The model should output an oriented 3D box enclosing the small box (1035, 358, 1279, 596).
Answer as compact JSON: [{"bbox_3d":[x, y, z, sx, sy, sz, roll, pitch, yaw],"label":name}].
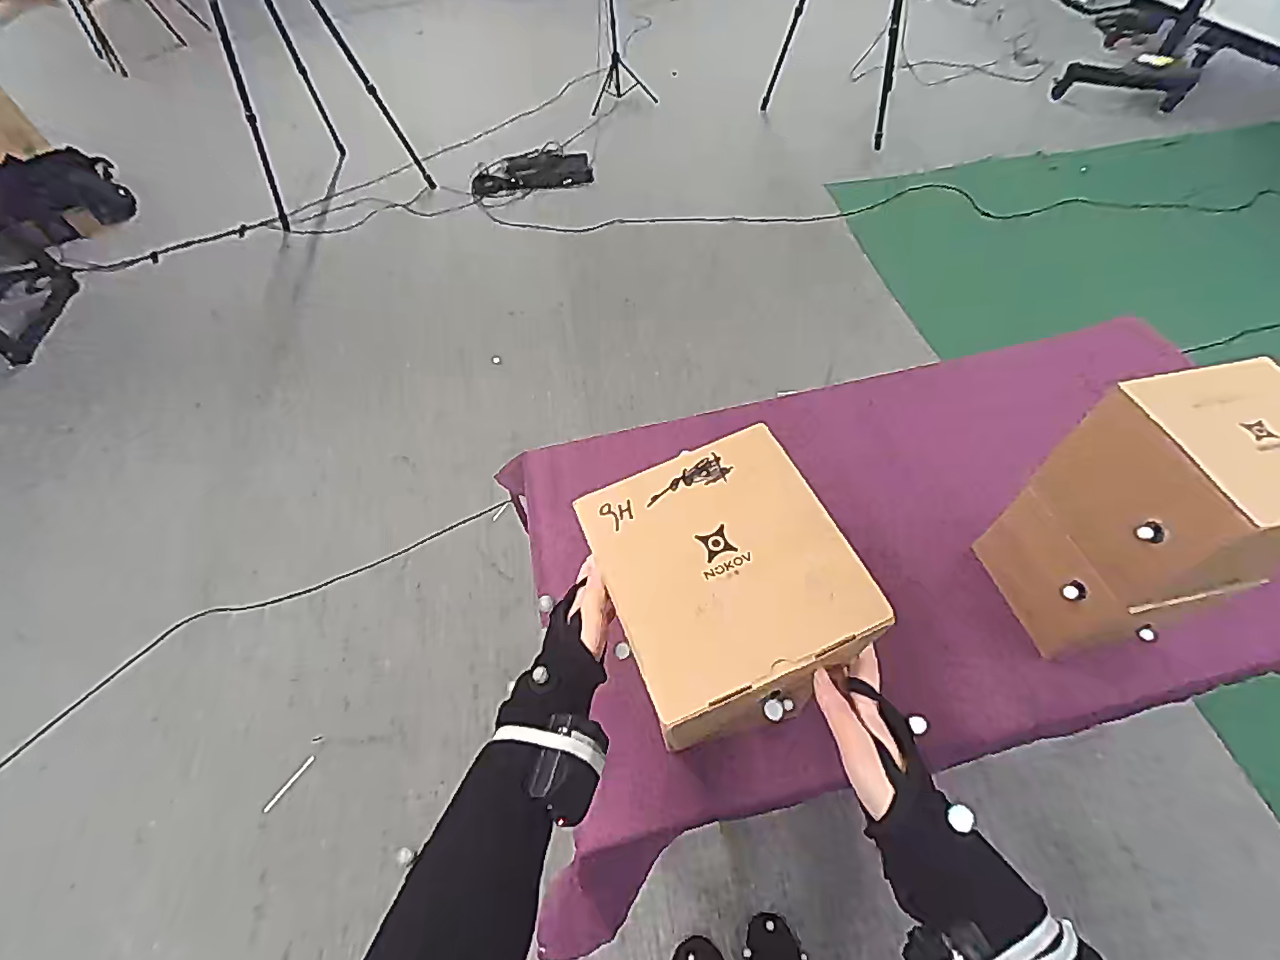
[{"bbox_3d":[0.568,0.006,0.556,0.168,0.176,0.179,-10,53,-2],"label":"small box"}]

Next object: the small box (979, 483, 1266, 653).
[{"bbox_3d":[0.581,0.105,0.686,0.168,0.176,0.179,-11,54,-3],"label":"small box"}]

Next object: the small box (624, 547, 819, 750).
[{"bbox_3d":[0.090,0.210,0.658,0.179,0.176,0.168,-14,54,-6],"label":"small box"}]
